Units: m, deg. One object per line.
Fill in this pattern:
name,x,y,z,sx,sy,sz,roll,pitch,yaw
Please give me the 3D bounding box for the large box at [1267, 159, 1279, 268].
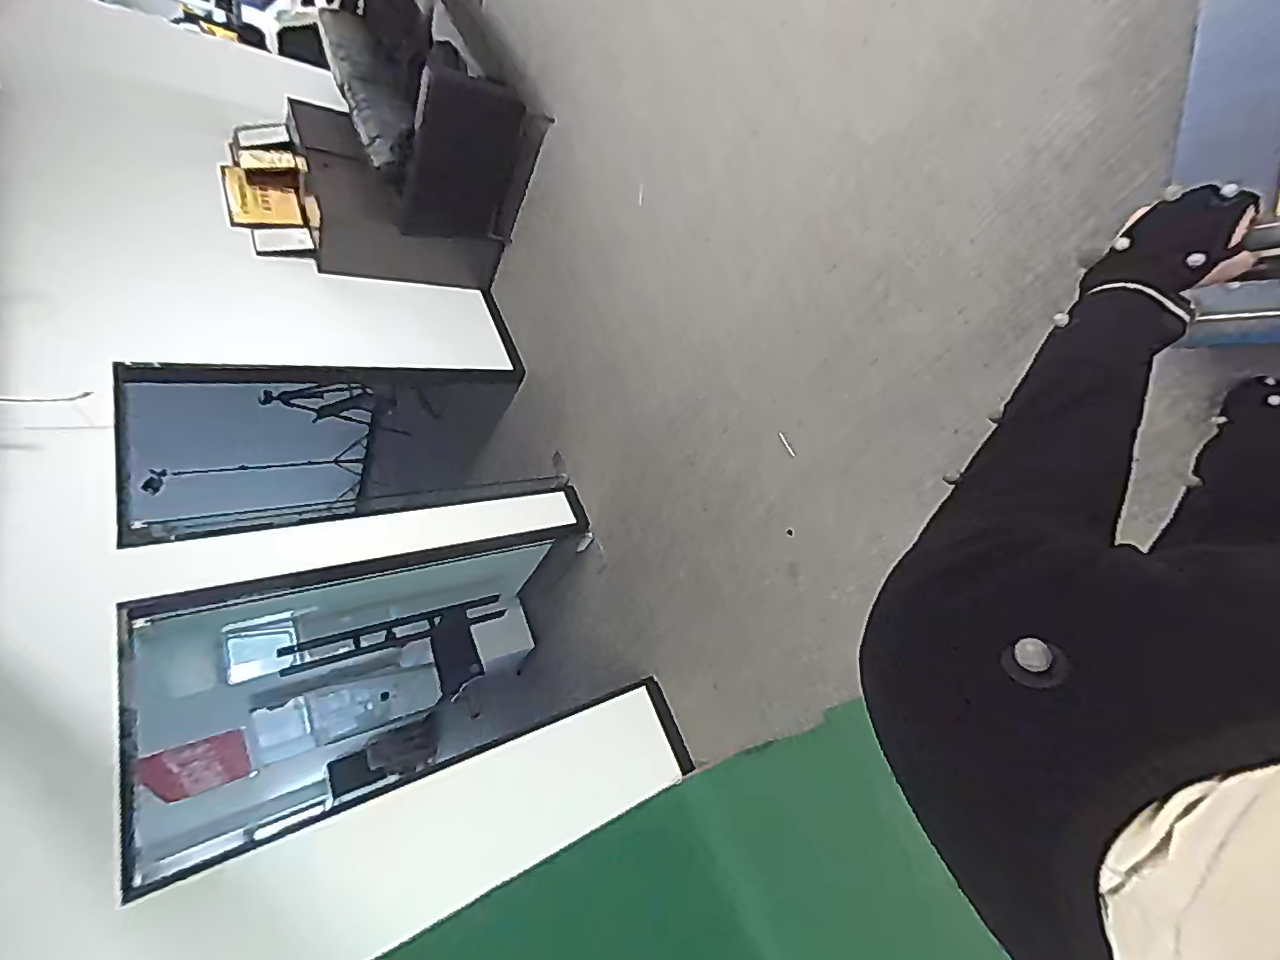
large box,1.103,-0.504,0.707,0.320,0.320,0.408,12,105,51
